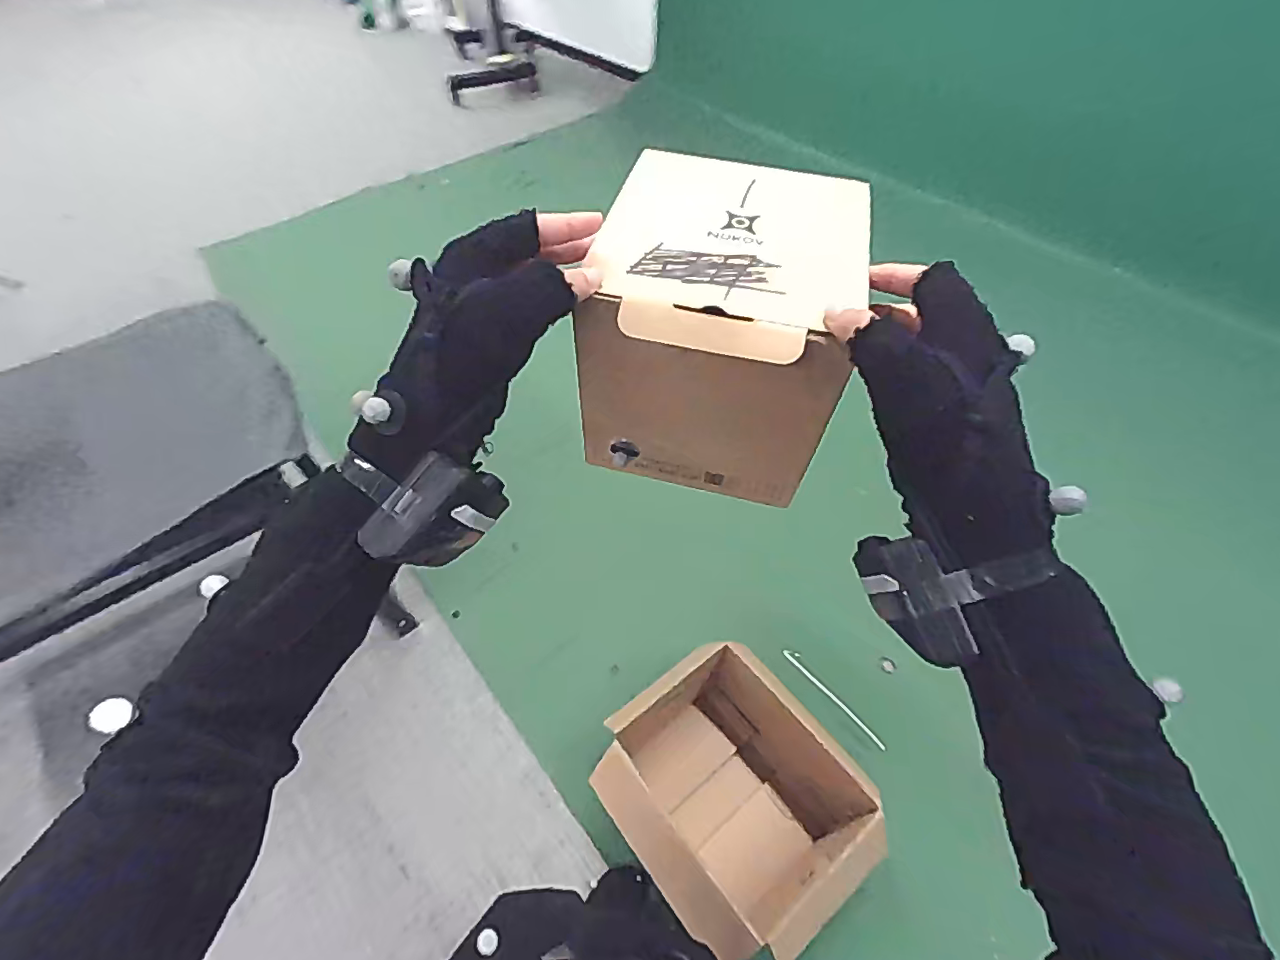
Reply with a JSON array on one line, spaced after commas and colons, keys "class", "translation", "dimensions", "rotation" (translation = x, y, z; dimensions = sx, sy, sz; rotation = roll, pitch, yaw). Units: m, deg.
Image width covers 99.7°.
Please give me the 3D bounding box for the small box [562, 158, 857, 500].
[{"class": "small box", "translation": [0.052, -0.108, 0.410], "dimensions": [0.168, 0.176, 0.179], "rotation": [12, 55, 6]}]
